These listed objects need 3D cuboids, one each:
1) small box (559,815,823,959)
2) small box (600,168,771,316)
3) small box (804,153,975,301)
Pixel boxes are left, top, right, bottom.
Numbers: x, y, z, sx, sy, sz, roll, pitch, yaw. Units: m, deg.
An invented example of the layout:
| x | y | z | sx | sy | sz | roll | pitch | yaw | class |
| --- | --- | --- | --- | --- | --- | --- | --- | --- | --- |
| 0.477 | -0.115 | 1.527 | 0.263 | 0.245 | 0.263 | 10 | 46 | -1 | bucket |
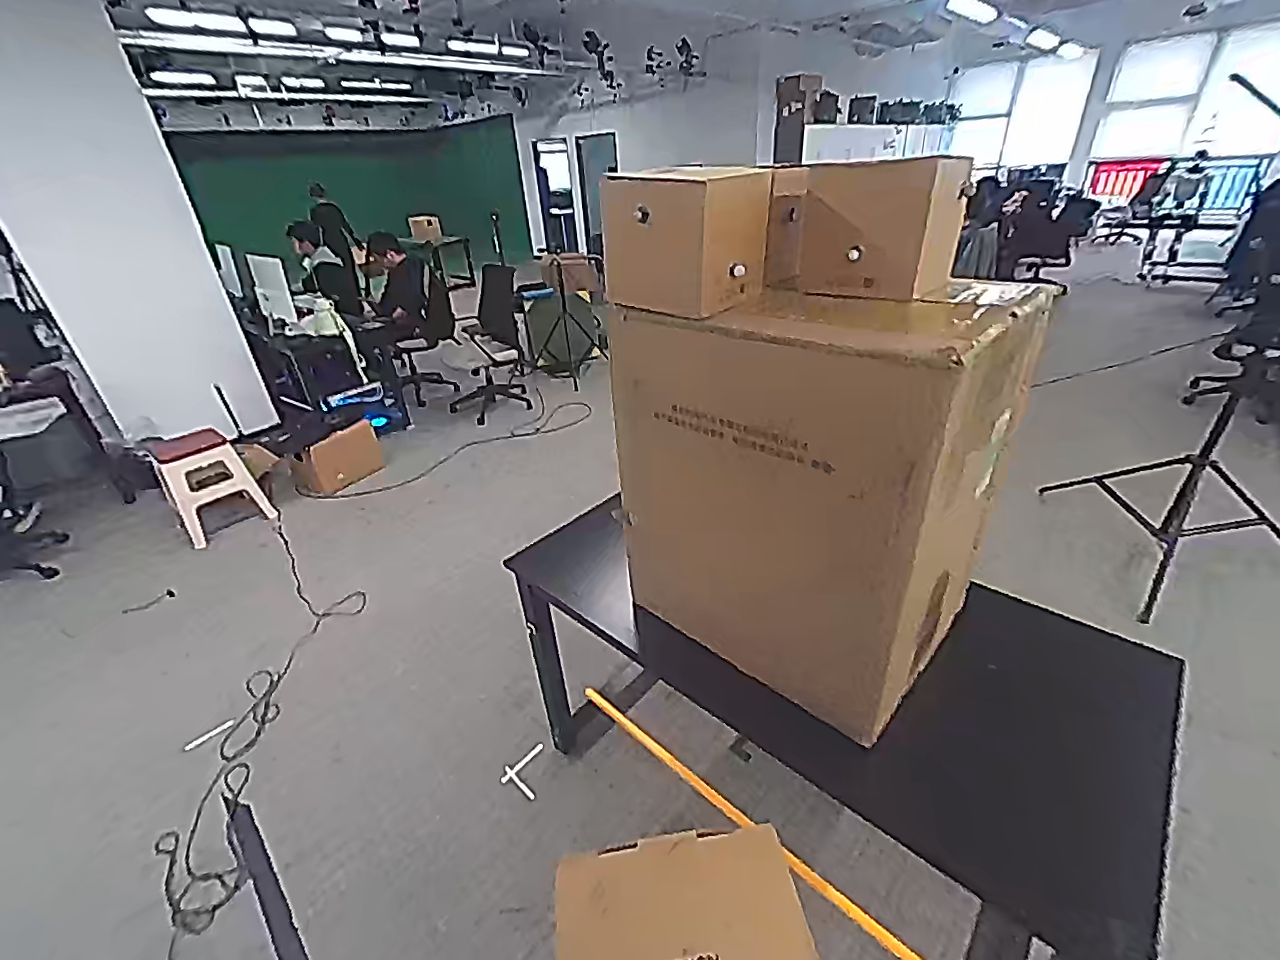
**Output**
| x | y | z | sx | sy | sz | roll | pitch | yaw | class |
| --- | --- | --- | --- | --- | --- | --- | --- | --- | --- |
| 0.029 | 0.369 | 0.369 | 0.168 | 0.176 | 0.179 | -3 | 35 | -9 | small box |
| 0.063 | -0.342 | 0.770 | 0.179 | 0.176 | 0.168 | 24 | 41 | 34 | small box |
| 0.348 | -0.362 | 0.771 | 0.168 | 0.176 | 0.179 | 20 | 36 | 37 | small box |
